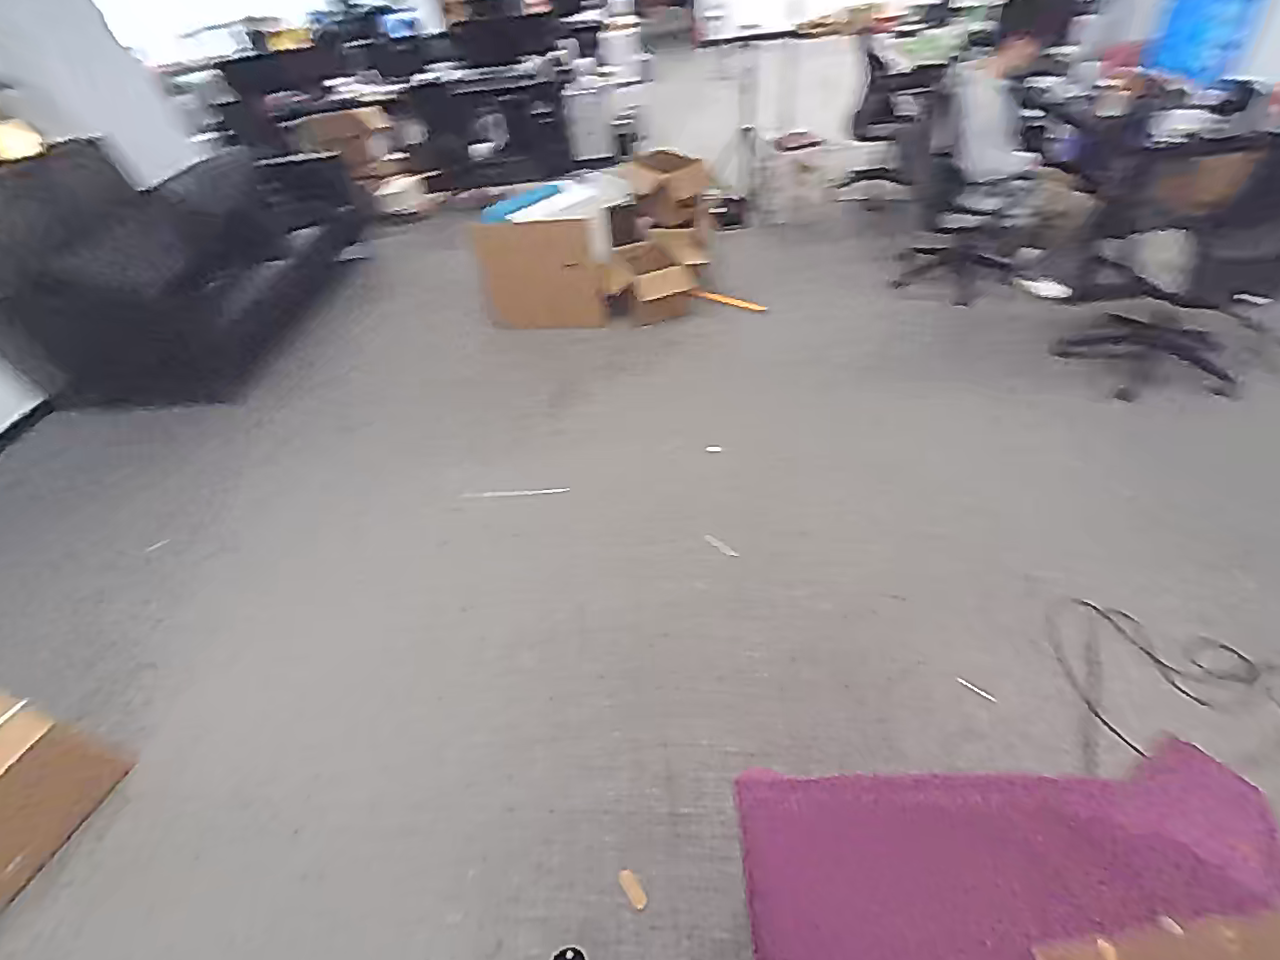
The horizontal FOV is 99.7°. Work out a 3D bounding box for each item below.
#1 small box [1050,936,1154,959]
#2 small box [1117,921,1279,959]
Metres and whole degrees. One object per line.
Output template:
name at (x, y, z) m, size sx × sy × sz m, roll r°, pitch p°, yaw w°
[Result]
small box at (0.537, 0.556, 0.518) m, size 0.179 × 0.176 × 0.168 m, roll -3°, pitch 45°, yaw 5°
small box at (0.522, 0.446, 0.397) m, size 0.179 × 0.176 × 0.168 m, roll -1°, pitch 45°, yaw 9°
